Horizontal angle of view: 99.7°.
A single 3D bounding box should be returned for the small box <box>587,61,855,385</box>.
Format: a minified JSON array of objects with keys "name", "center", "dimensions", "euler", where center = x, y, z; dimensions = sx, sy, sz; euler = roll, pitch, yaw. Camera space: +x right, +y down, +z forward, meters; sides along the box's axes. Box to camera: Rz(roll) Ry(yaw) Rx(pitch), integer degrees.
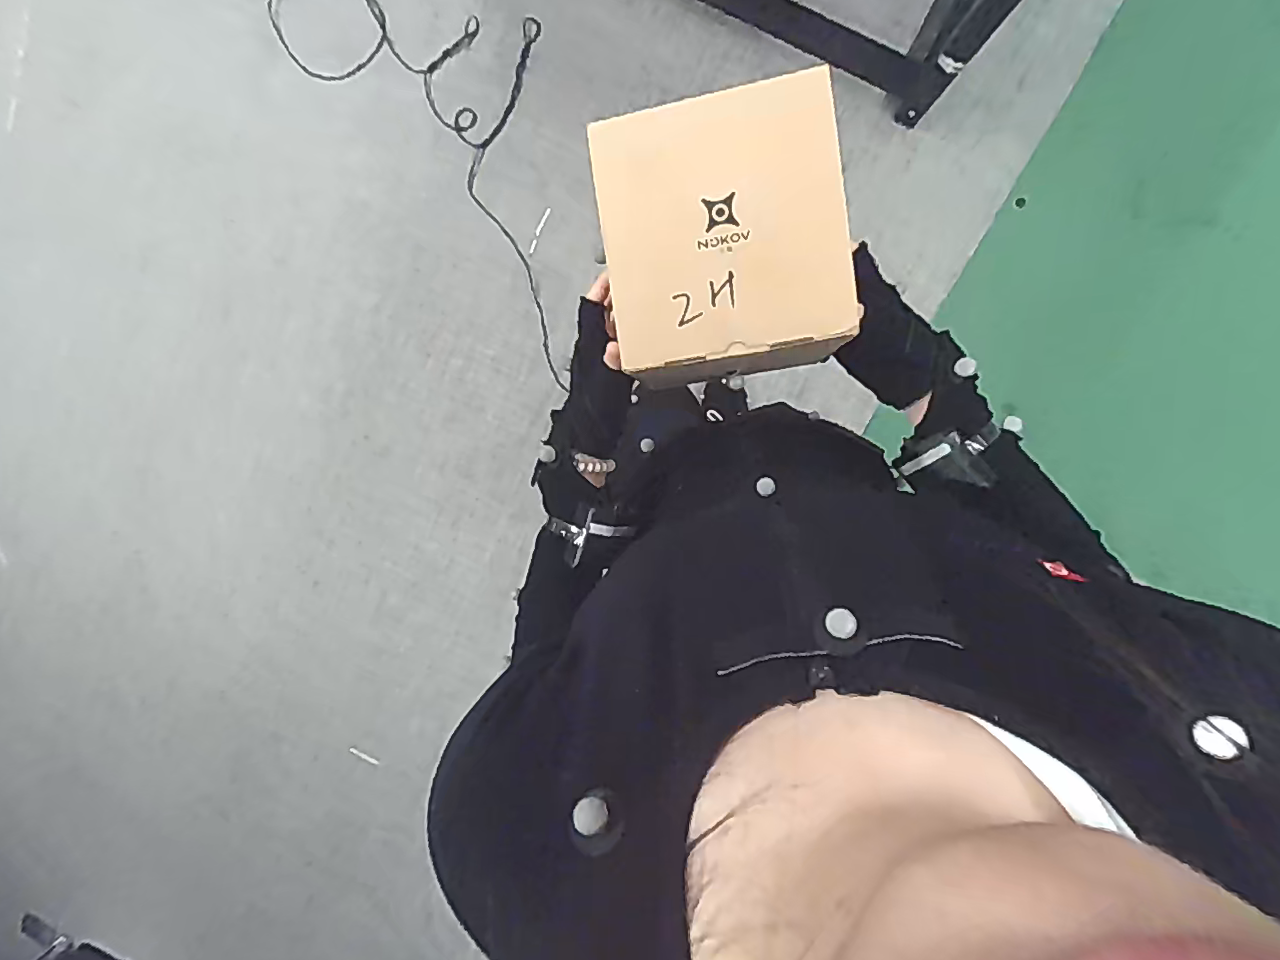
[{"name":"small box","center":[0.064,-0.183,0.444],"dimensions":[0.168,0.176,0.179],"euler":[-7,94,10]}]
